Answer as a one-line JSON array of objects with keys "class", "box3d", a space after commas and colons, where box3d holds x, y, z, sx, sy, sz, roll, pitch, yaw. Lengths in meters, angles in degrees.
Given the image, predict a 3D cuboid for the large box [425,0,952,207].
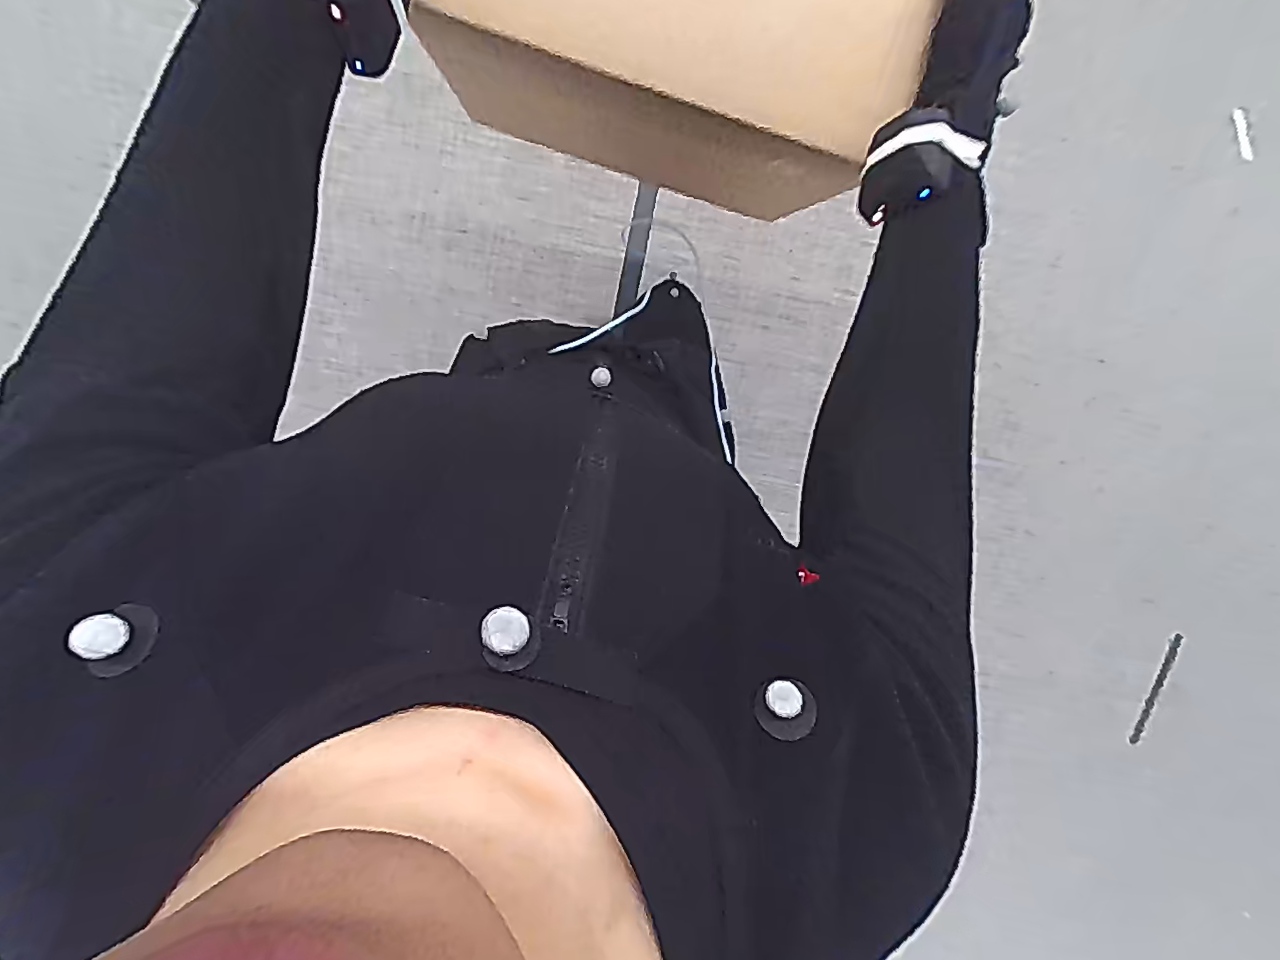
[{"class": "large box", "box3d": [0.047, -0.500, 0.512, 0.408, 0.320, 0.320, 14, 108, -11]}]
